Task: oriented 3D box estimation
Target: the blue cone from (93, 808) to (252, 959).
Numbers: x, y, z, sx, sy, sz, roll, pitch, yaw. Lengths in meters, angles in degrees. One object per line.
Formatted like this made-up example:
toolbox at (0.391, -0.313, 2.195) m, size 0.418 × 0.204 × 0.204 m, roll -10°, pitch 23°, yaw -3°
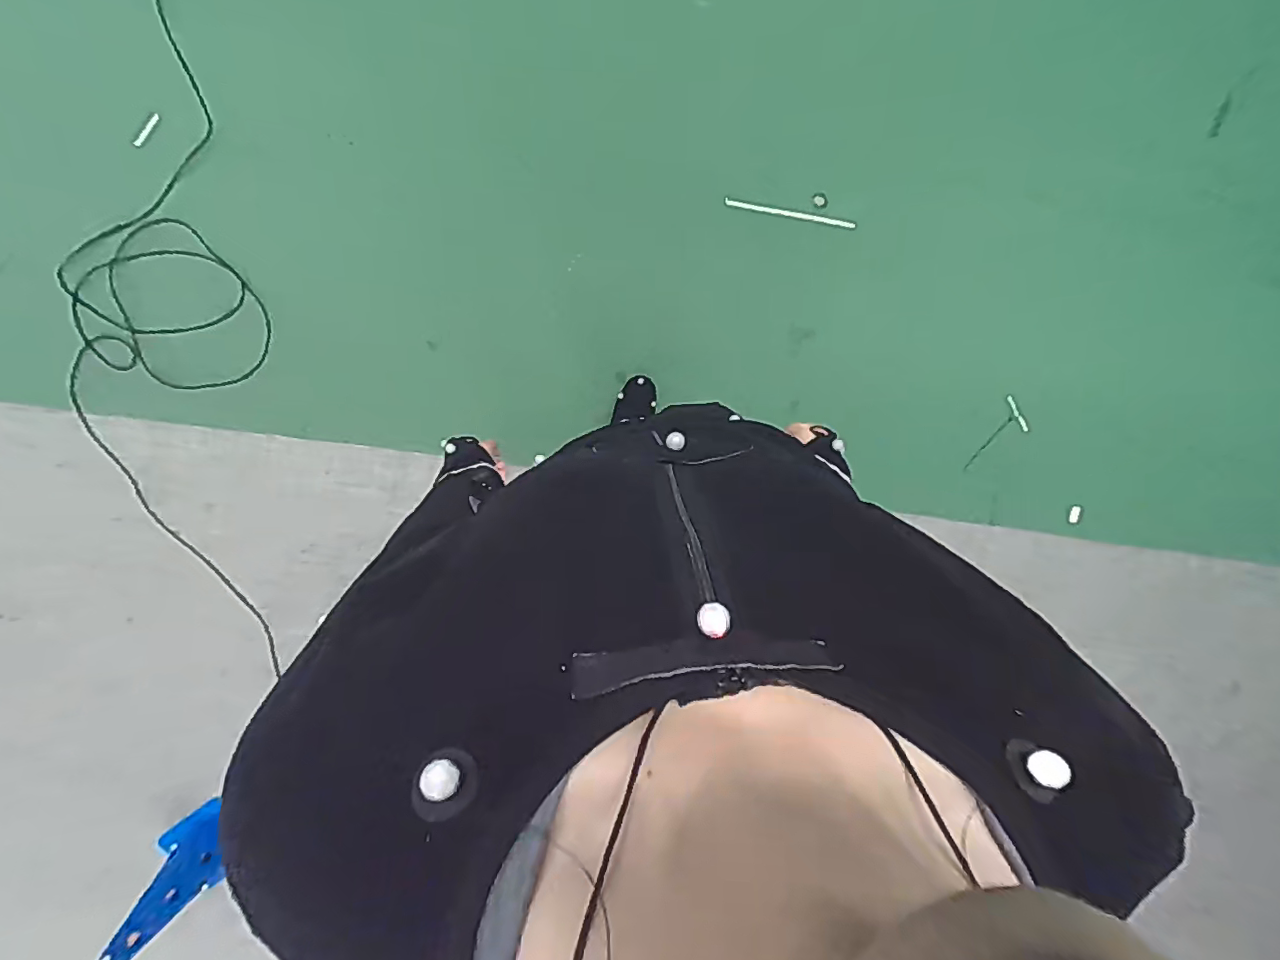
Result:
blue cone at (-1.143, 1.013, 1.284) m, size 0.193 × 0.380 × 0.192 m, roll -37°, pitch 100°, yaw 0°
